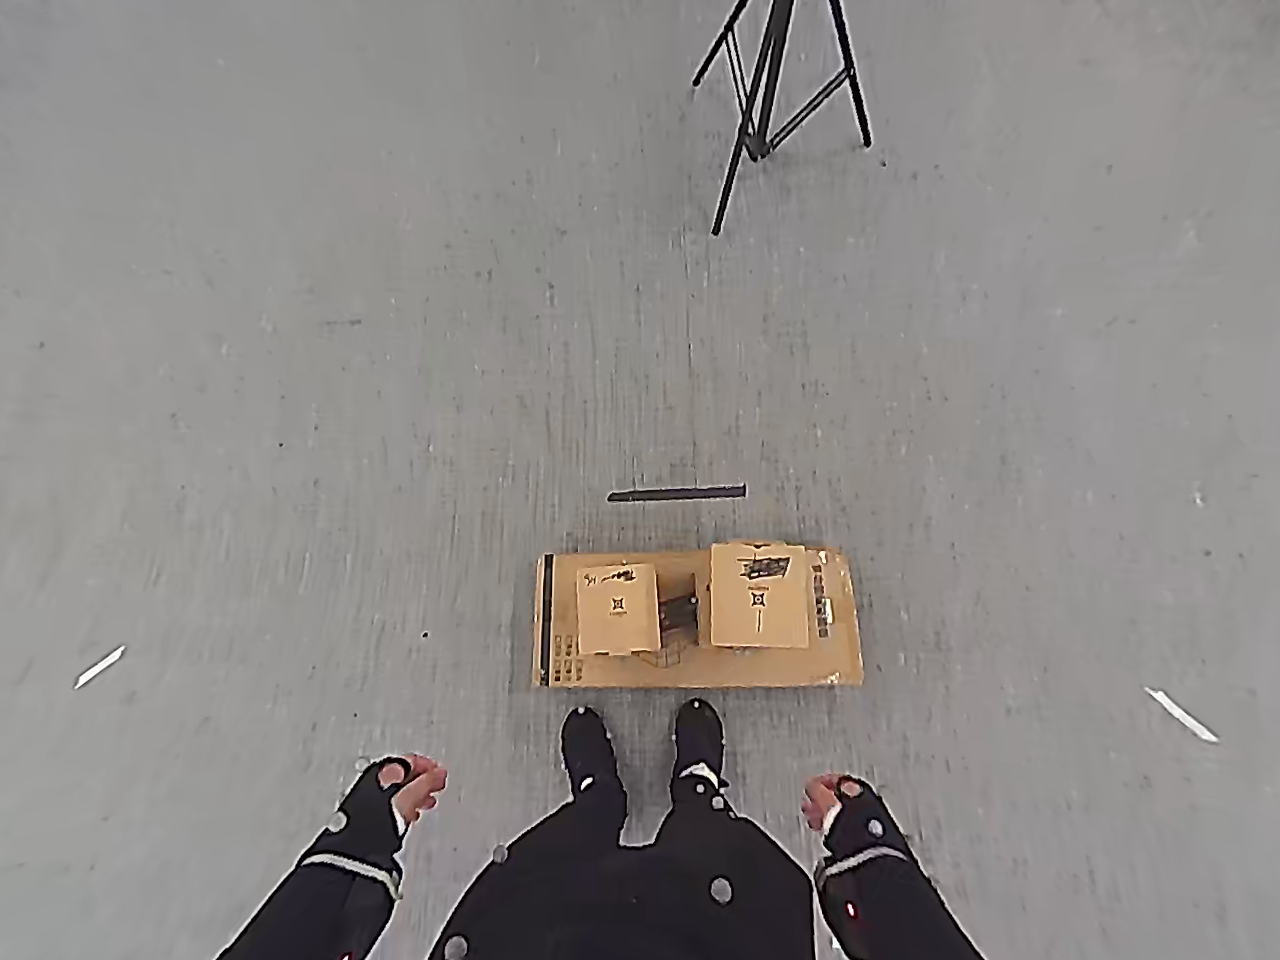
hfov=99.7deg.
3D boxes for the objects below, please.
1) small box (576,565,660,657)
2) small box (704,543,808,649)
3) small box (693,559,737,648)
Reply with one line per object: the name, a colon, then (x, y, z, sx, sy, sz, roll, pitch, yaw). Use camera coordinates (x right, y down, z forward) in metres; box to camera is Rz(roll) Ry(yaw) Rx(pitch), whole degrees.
small box: (-0.043, 0.283, 1.169, 0.168, 0.176, 0.179, -4, 74, 1)
small box: (0.206, 0.219, 1.006, 0.168, 0.176, 0.179, 1, 74, 3)
small box: (0.204, 0.268, 1.163, 0.168, 0.176, 0.179, -2, 74, 2)
